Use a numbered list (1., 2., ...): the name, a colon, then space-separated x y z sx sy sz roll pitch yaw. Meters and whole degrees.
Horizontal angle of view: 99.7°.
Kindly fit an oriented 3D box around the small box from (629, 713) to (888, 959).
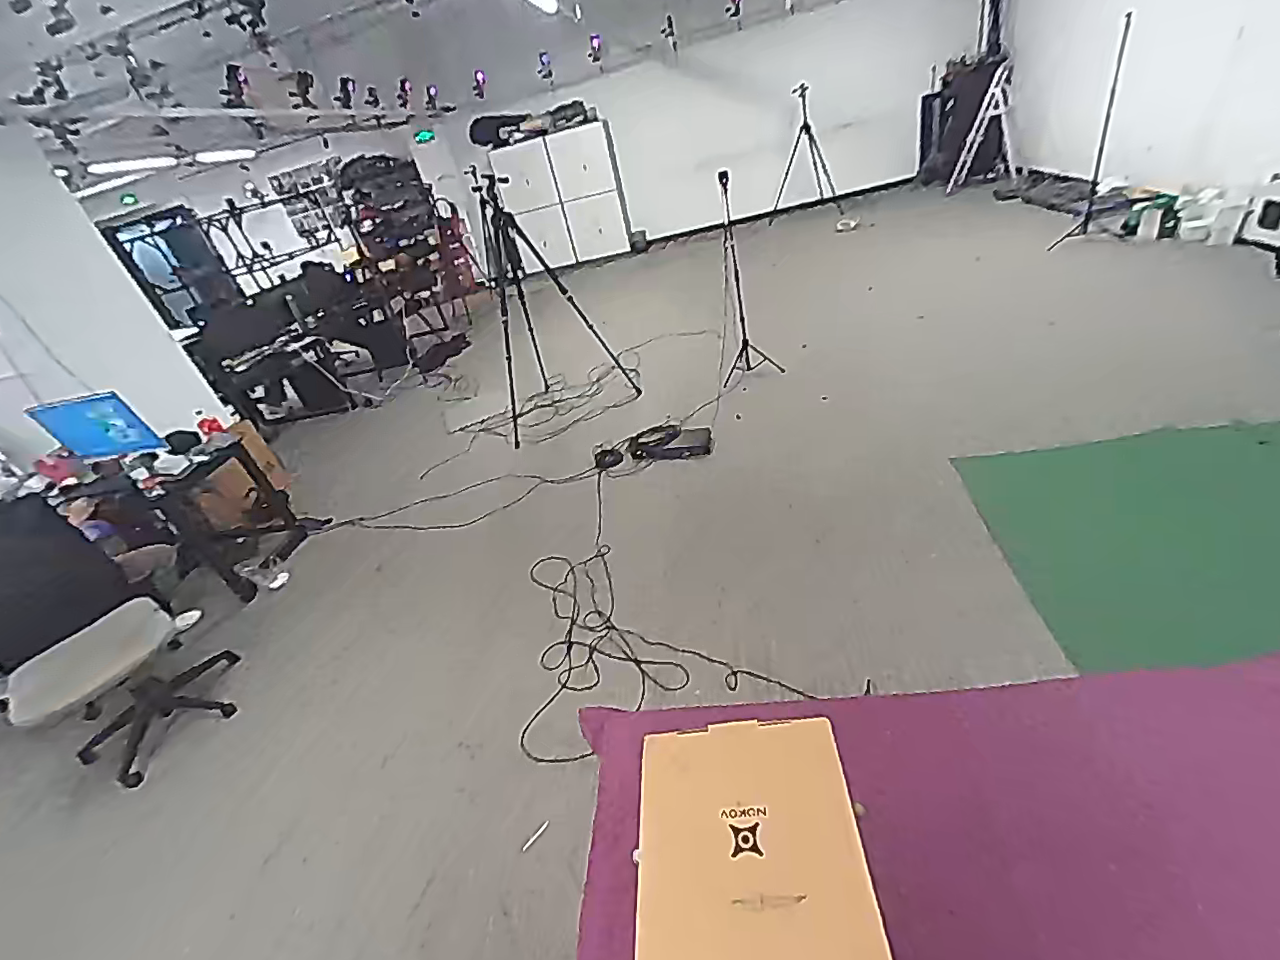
1. small box: 0.095 0.325 0.448 0.168 0.176 0.179 -11 34 11
